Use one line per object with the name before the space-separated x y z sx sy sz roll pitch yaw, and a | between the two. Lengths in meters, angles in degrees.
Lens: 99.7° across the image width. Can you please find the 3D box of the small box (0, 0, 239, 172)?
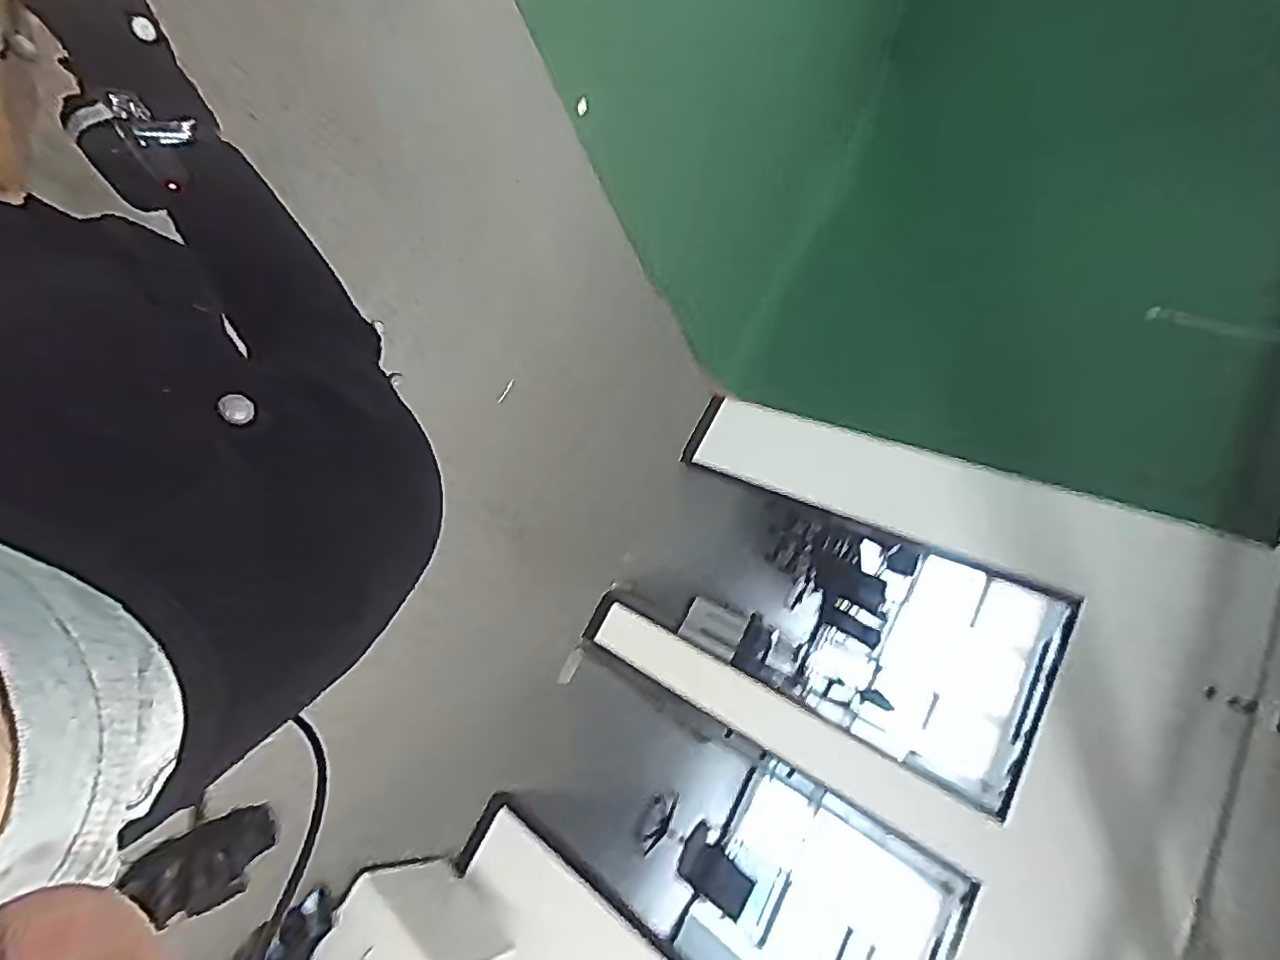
small box | -0.387 -0.340 0.318 0.176 0.168 0.179 -44 166 12
